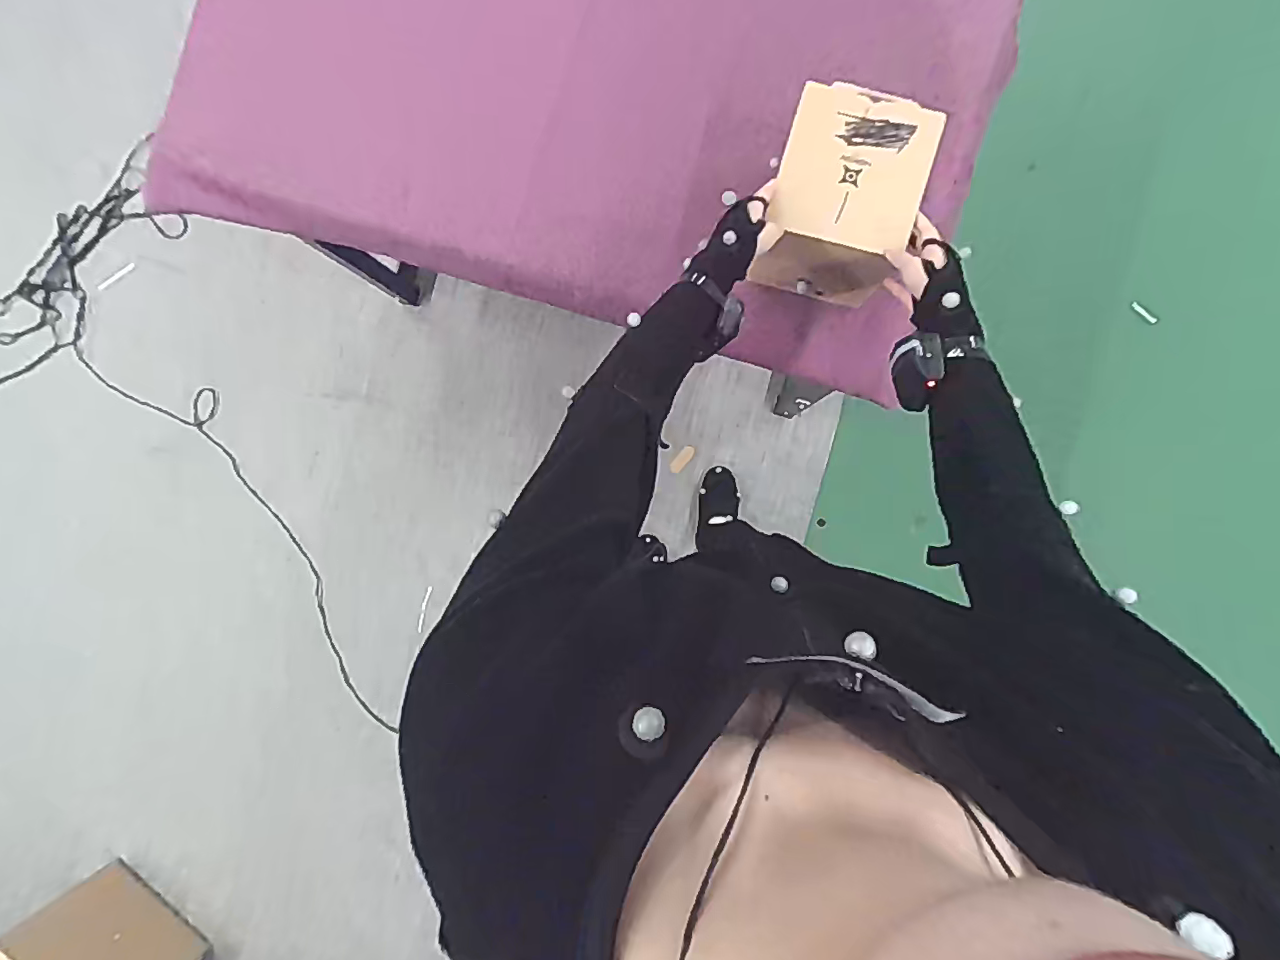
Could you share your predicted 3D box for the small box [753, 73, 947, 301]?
[{"bbox_3d":[0.251,-0.358,0.691,0.168,0.176,0.179,17,90,6],"label":"small box"}]
